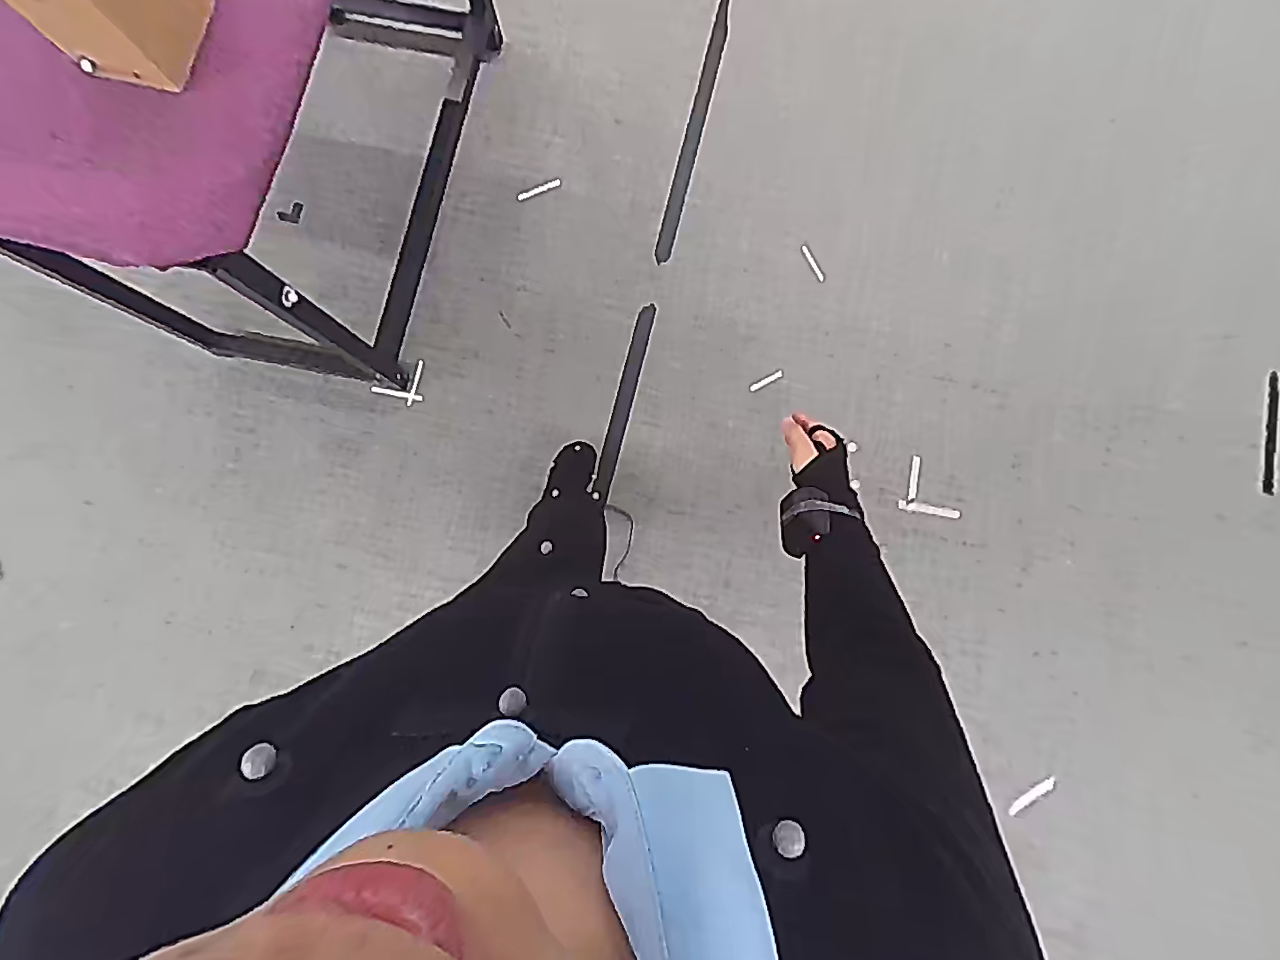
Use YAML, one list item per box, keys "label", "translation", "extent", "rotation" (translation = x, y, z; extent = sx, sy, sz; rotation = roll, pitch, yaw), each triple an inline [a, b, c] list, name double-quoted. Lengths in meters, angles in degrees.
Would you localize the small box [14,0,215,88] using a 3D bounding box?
- label: "small box"
  translation: [-0.797, -0.741, 0.814]
  extent: [0.168, 0.176, 0.179]
  rotation: [13, 82, 1]
